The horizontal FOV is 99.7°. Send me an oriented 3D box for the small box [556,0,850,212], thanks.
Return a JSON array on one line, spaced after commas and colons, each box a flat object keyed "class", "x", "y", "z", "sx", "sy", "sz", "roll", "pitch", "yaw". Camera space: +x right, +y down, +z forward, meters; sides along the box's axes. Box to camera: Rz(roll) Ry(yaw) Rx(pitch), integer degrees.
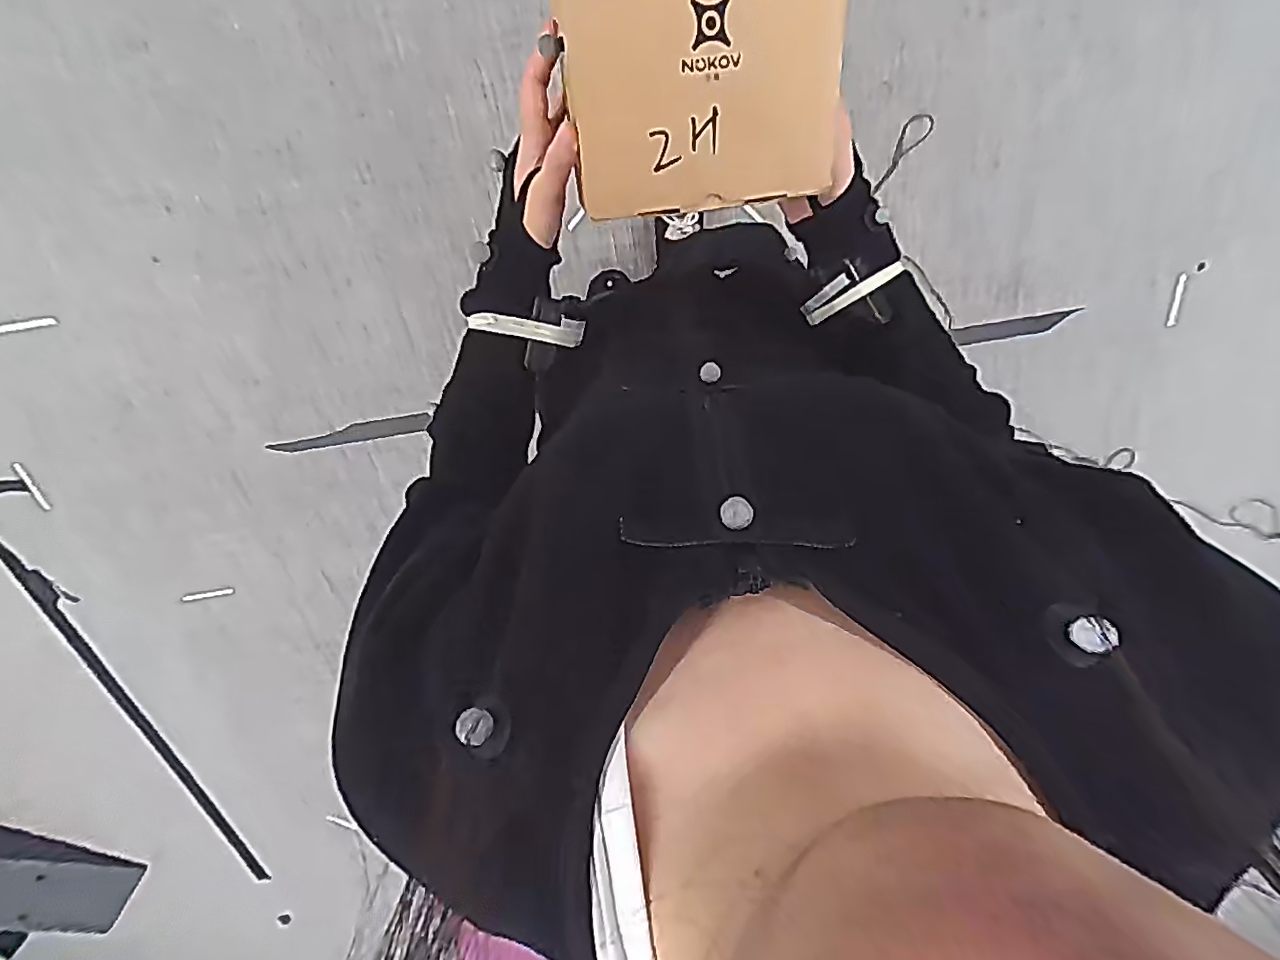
[{"class": "small box", "x": 0.031, "y": -0.299, "z": 0.383, "sx": 0.168, "sy": 0.176, "sz": 0.179, "roll": -9, "pitch": 122, "yaw": -4}]
